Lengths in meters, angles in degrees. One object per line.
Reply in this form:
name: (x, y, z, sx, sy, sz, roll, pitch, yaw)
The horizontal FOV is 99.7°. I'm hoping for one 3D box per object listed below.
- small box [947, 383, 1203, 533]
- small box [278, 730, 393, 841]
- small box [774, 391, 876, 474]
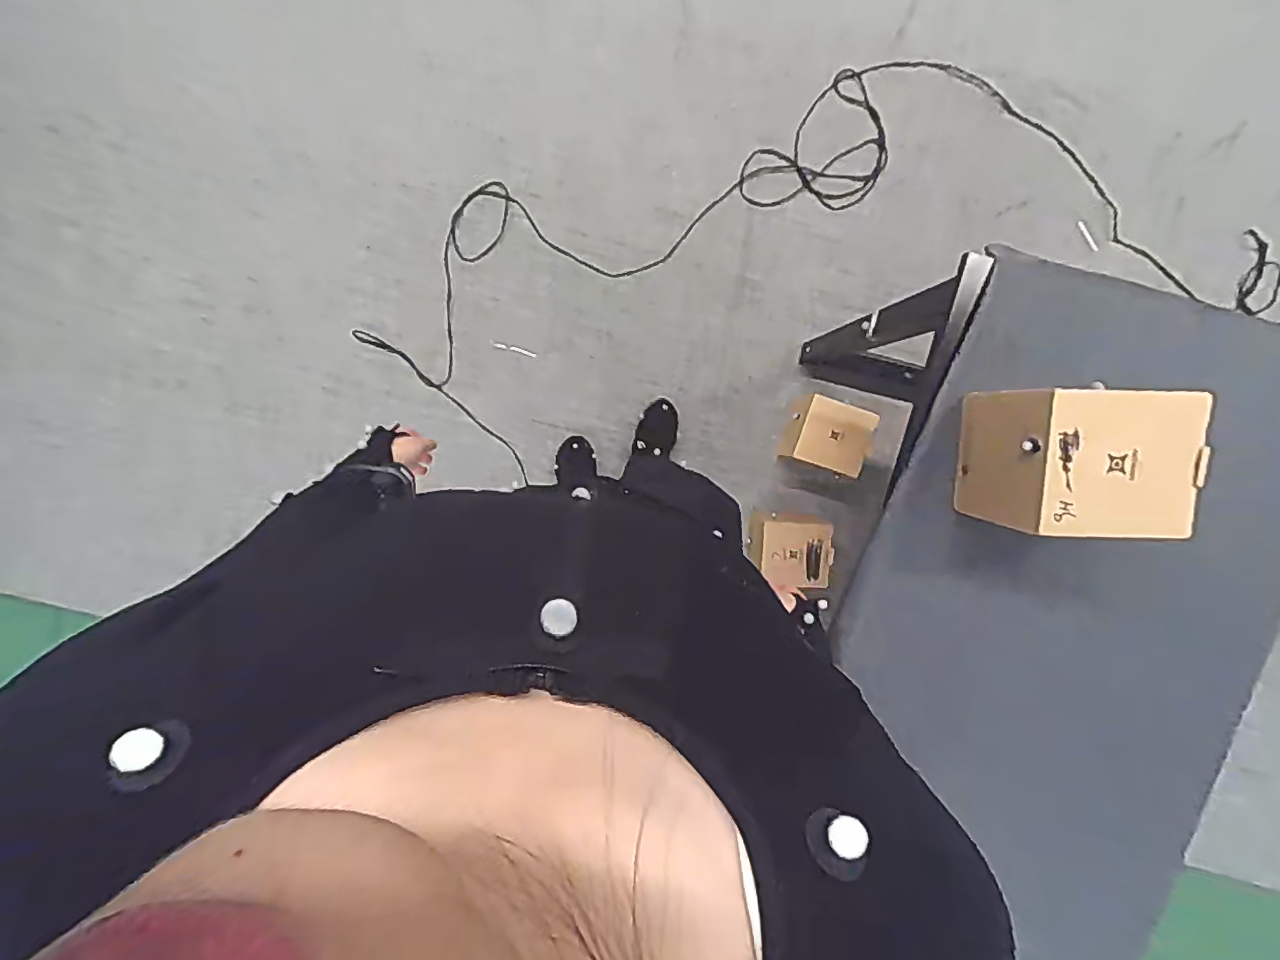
small box: (0.526, -0.033, 0.679, 0.179, 0.176, 0.168, 1, 97, -1)
small box: (-0.822, 0.819, 1.477, 0.168, 0.176, 0.179, -41, 97, 4)
small box: (0.469, -0.122, 1.404, 0.179, 0.176, 0.168, 18, 96, -4)
